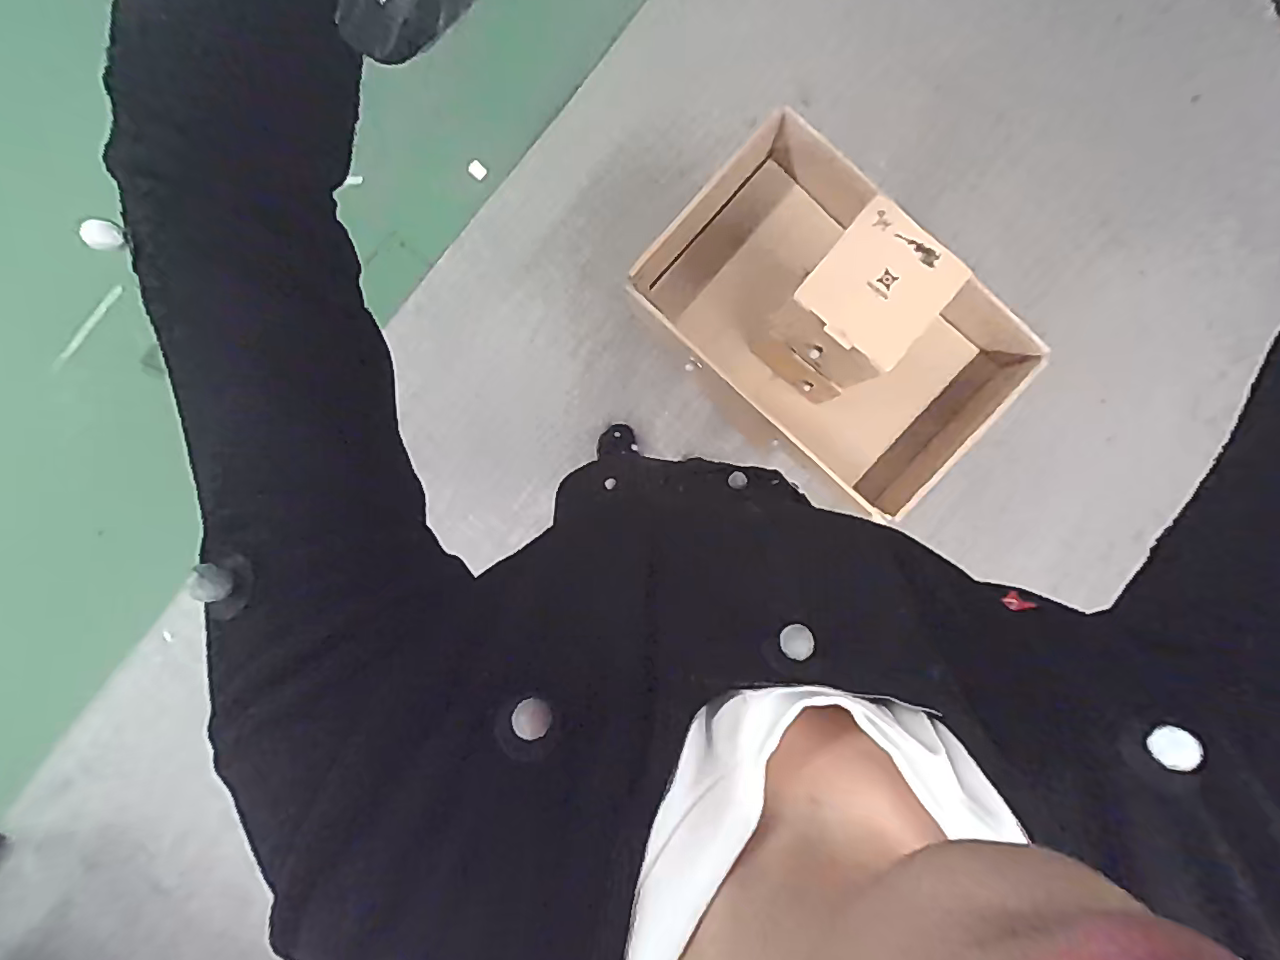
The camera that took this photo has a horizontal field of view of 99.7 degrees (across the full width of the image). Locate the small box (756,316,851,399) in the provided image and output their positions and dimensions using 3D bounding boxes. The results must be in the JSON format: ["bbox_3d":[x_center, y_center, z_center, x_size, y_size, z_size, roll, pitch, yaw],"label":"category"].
[{"bbox_3d":[0.326,-0.263,0.958,0.168,0.176,0.179,41,91,-1],"label":"small box"}]

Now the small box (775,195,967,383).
[{"bbox_3d":[0.318,-0.263,0.795,0.168,0.176,0.179,41,94,-1],"label":"small box"}]
